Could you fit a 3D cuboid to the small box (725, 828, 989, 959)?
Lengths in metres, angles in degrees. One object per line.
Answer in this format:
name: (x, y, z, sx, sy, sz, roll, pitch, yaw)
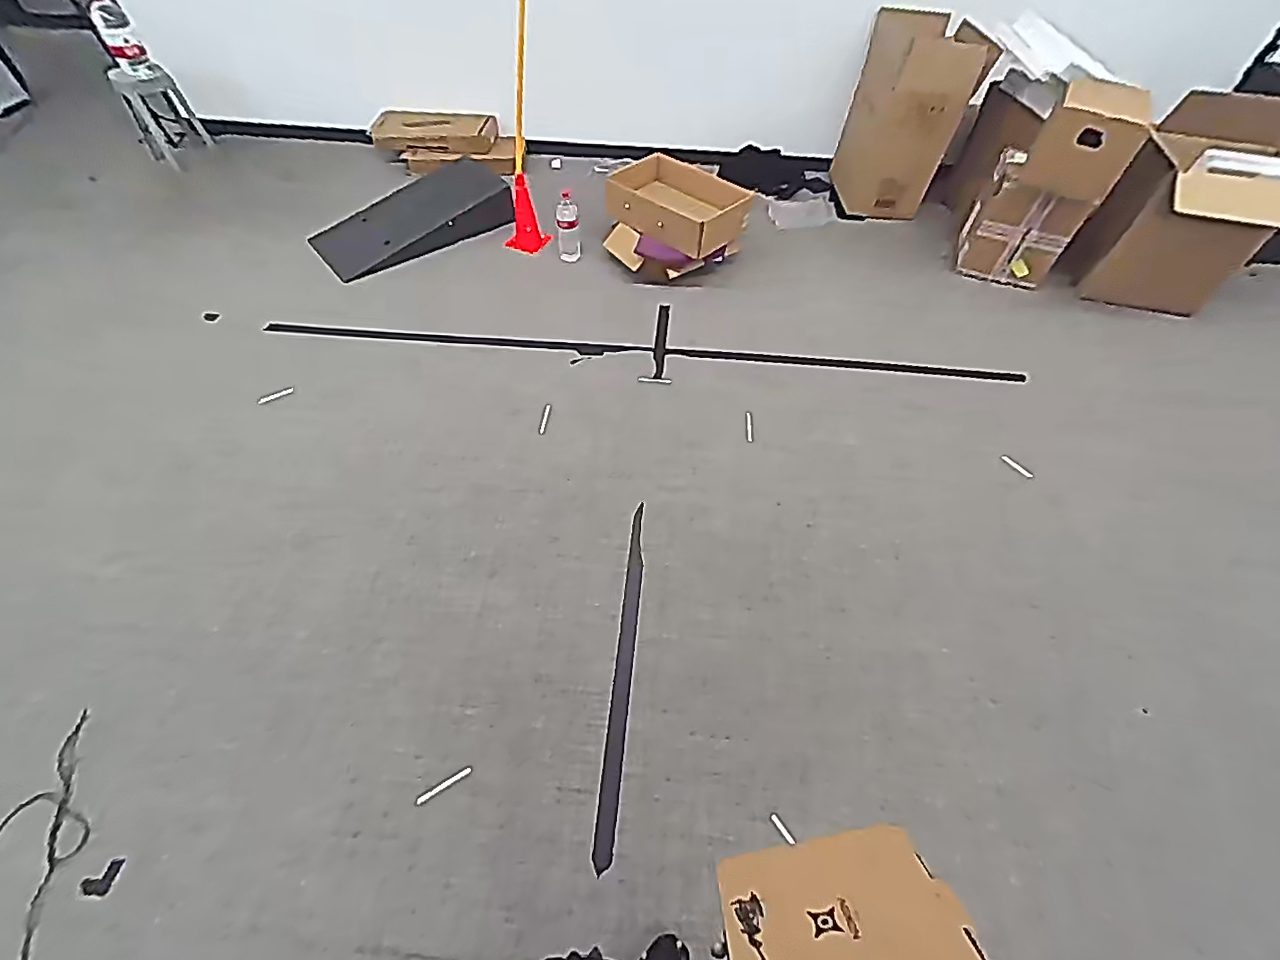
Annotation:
small box: (0.178, 0.429, 0.437, 0.179, 0.168, 0.176, -12, 93, 2)
